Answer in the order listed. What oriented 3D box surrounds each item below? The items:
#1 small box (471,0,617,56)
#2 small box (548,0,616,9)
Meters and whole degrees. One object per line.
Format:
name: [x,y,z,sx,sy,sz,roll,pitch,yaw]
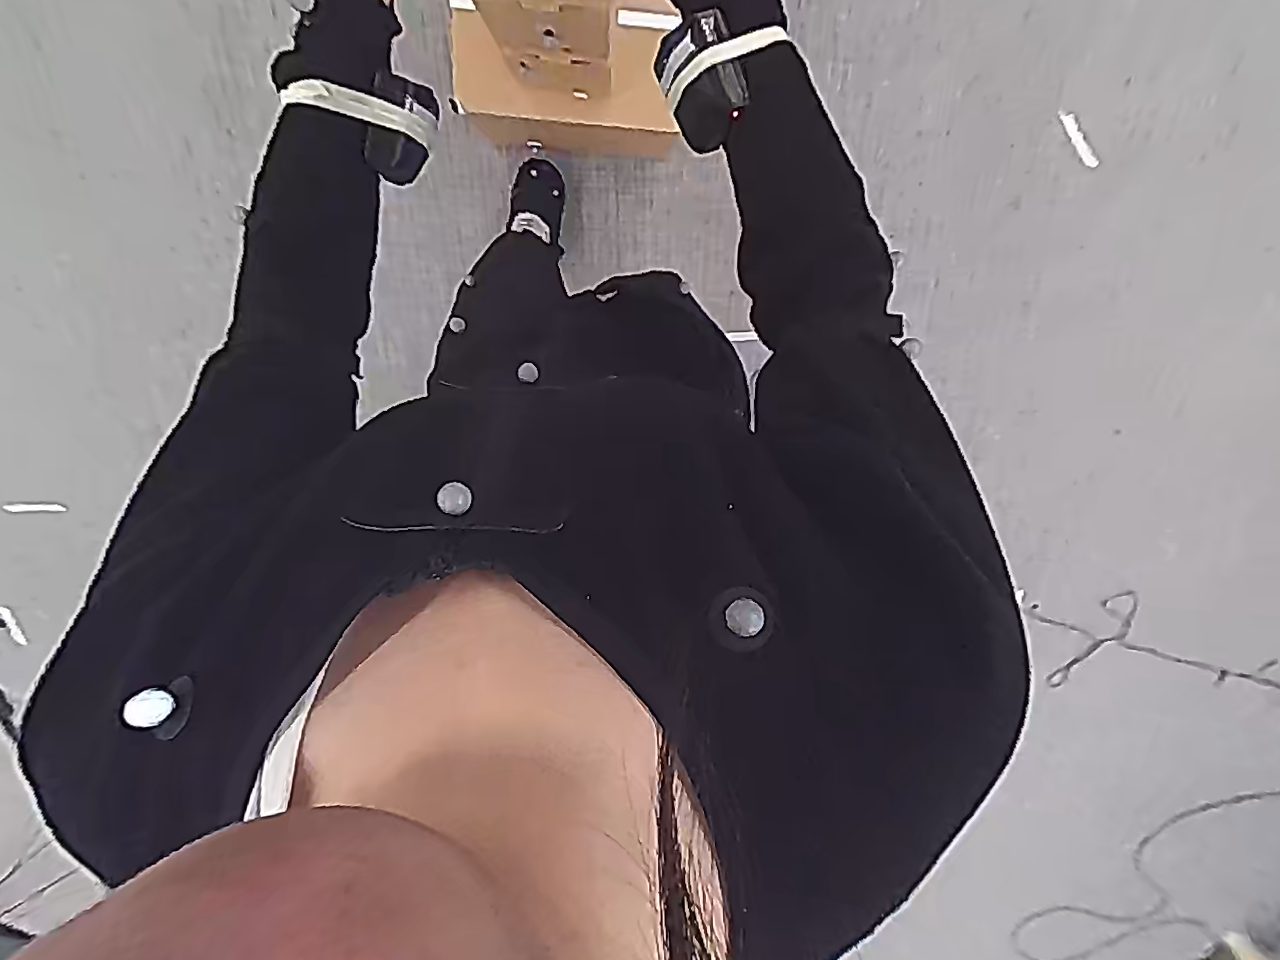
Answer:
small box: [-0.110,-0.655,0.664,0.168,0.176,0.179,3,113,-5]
small box: [-0.099,-0.591,0.514,0.168,0.176,0.179,1,111,-3]
